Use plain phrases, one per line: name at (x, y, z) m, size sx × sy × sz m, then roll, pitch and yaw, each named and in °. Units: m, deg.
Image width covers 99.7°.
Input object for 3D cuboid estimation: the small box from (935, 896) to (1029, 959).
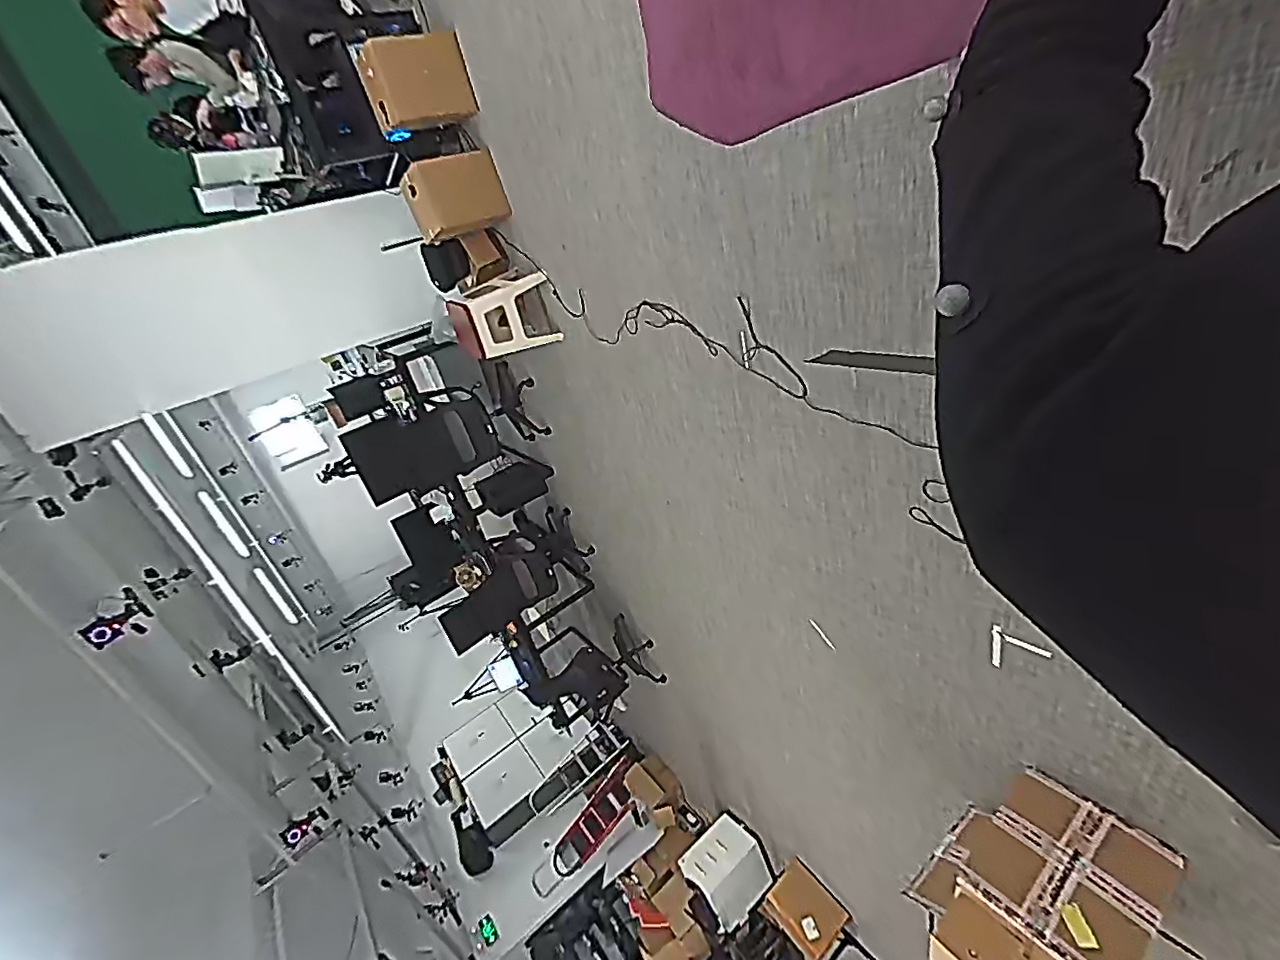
small box at (0.983, 1.366, 1.557) m, size 0.179 × 0.176 × 0.168 m, roll 25°, pitch 135°, yaw 53°
